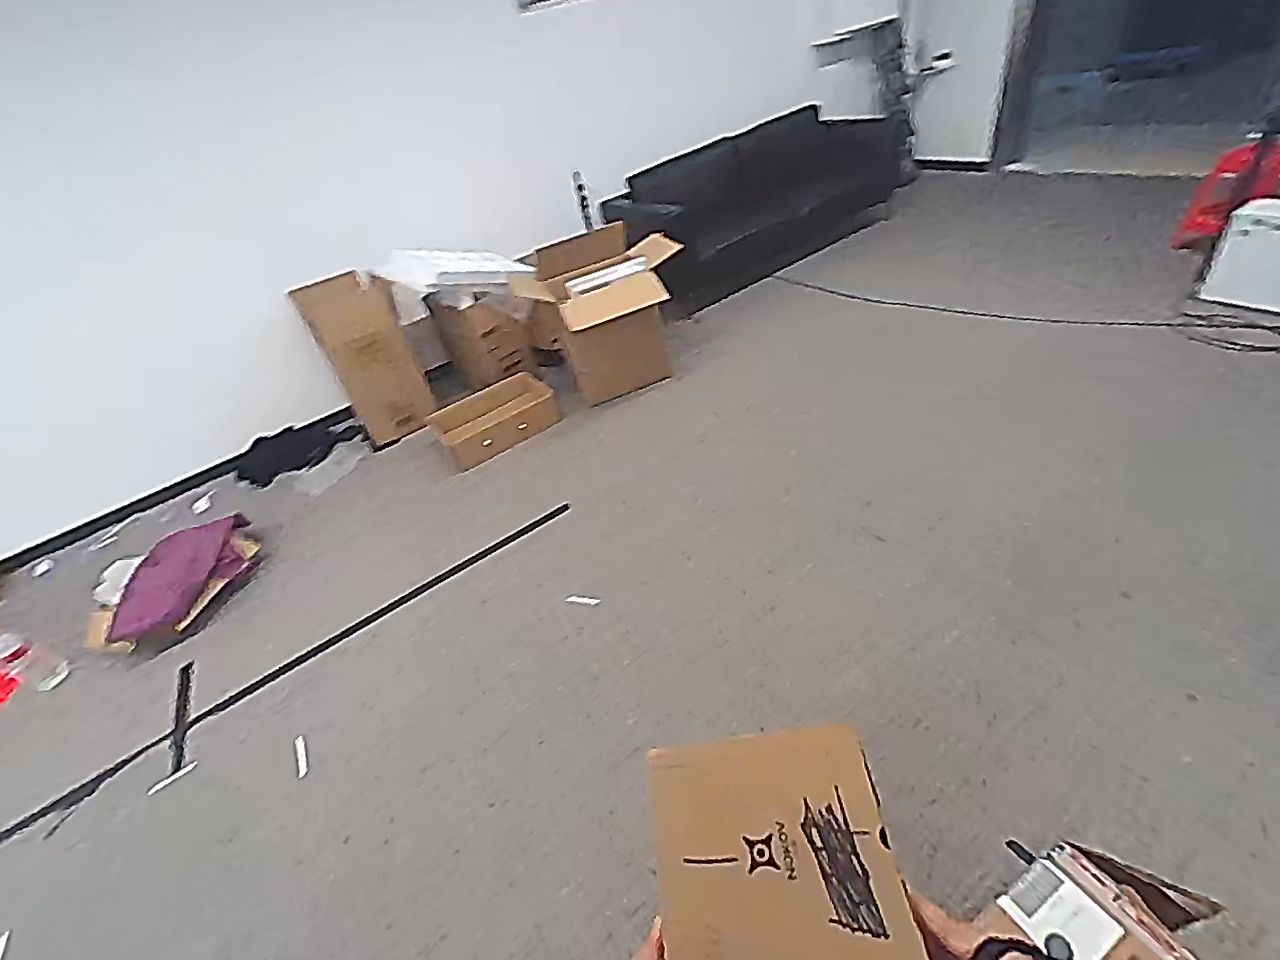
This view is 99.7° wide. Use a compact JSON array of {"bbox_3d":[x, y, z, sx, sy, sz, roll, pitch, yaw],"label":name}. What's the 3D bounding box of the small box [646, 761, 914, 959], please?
[{"bbox_3d":[0.105,0.351,0.459,0.179,0.176,0.168,-9,52,2],"label":"small box"}]
